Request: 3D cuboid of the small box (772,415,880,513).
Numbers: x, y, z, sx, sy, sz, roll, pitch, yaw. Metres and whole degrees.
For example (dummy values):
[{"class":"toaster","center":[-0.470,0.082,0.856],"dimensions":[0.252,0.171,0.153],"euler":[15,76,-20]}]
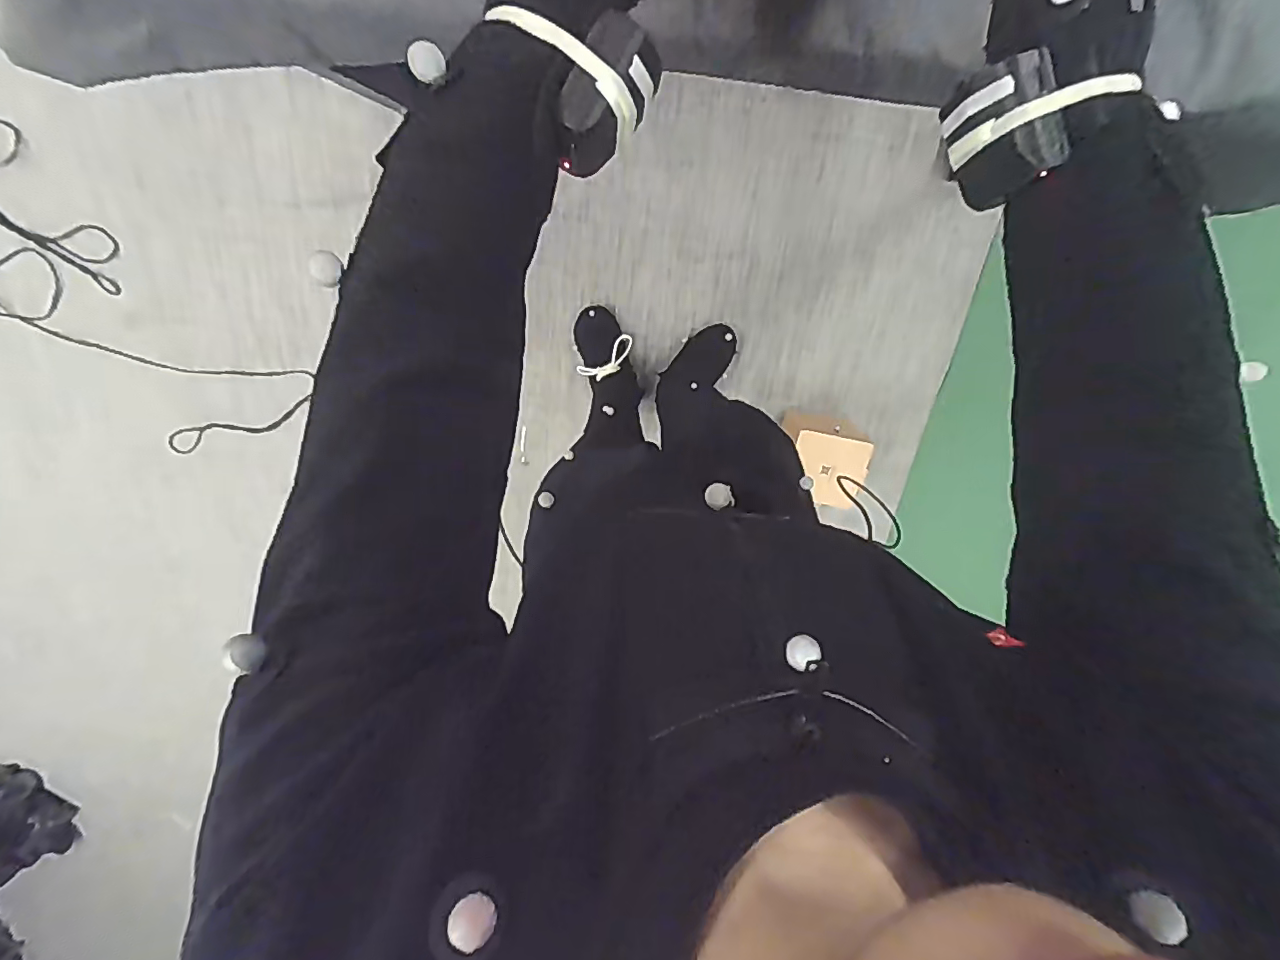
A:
[{"class":"small box","center":[0.429,-0.044,1.280],"dimensions":[0.179,0.176,0.168],"euler":[11,112,-1]}]
